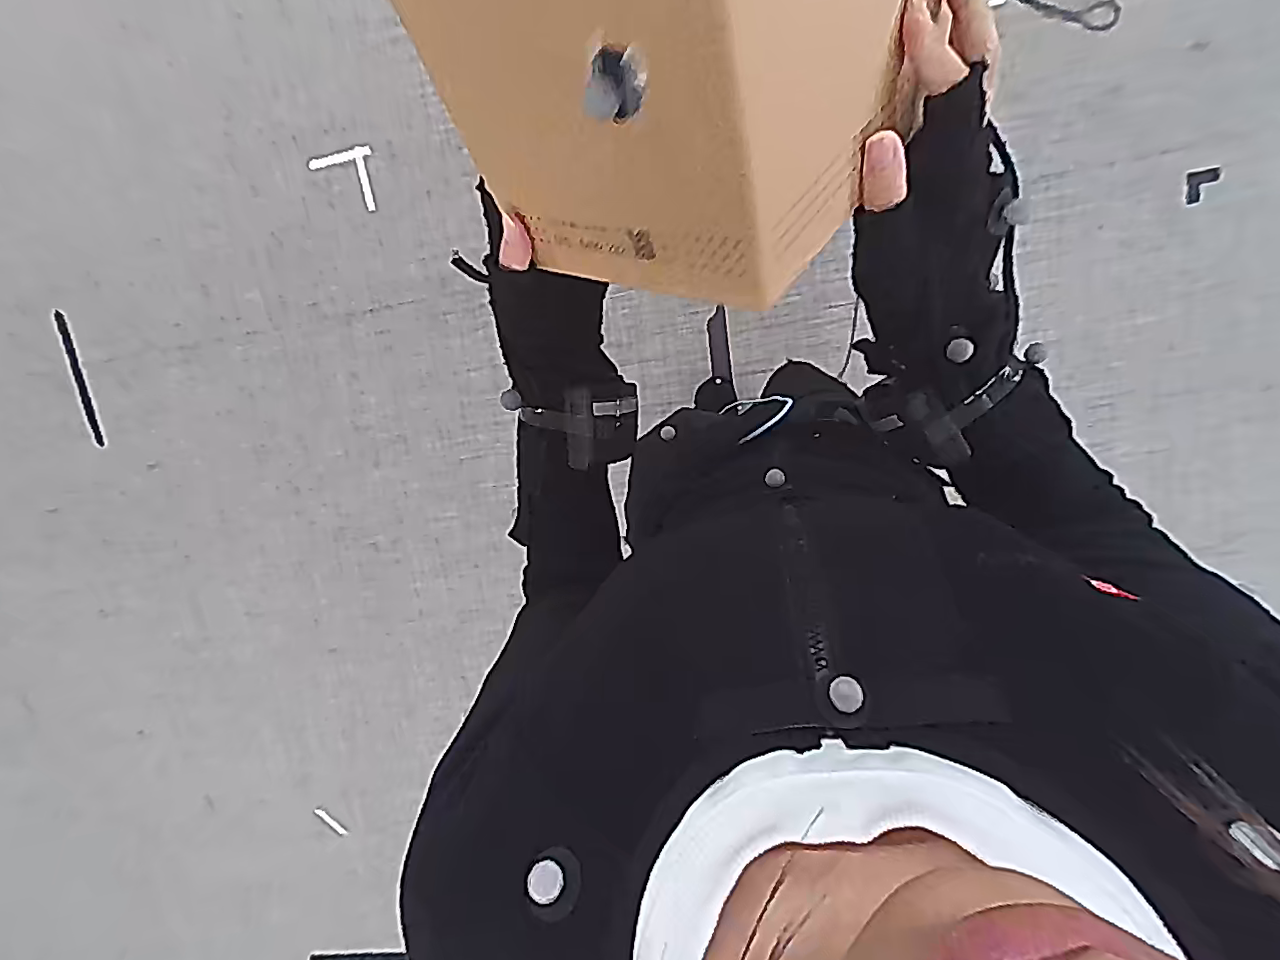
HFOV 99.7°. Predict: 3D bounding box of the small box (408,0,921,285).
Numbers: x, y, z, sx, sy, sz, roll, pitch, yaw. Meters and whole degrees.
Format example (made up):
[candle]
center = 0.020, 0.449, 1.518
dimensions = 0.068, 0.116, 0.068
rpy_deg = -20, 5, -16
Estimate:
[small box]
center = 0.023, -0.217, 0.258
dimensions = 0.168, 0.176, 0.179
rpy_deg = 24, 64, 35
